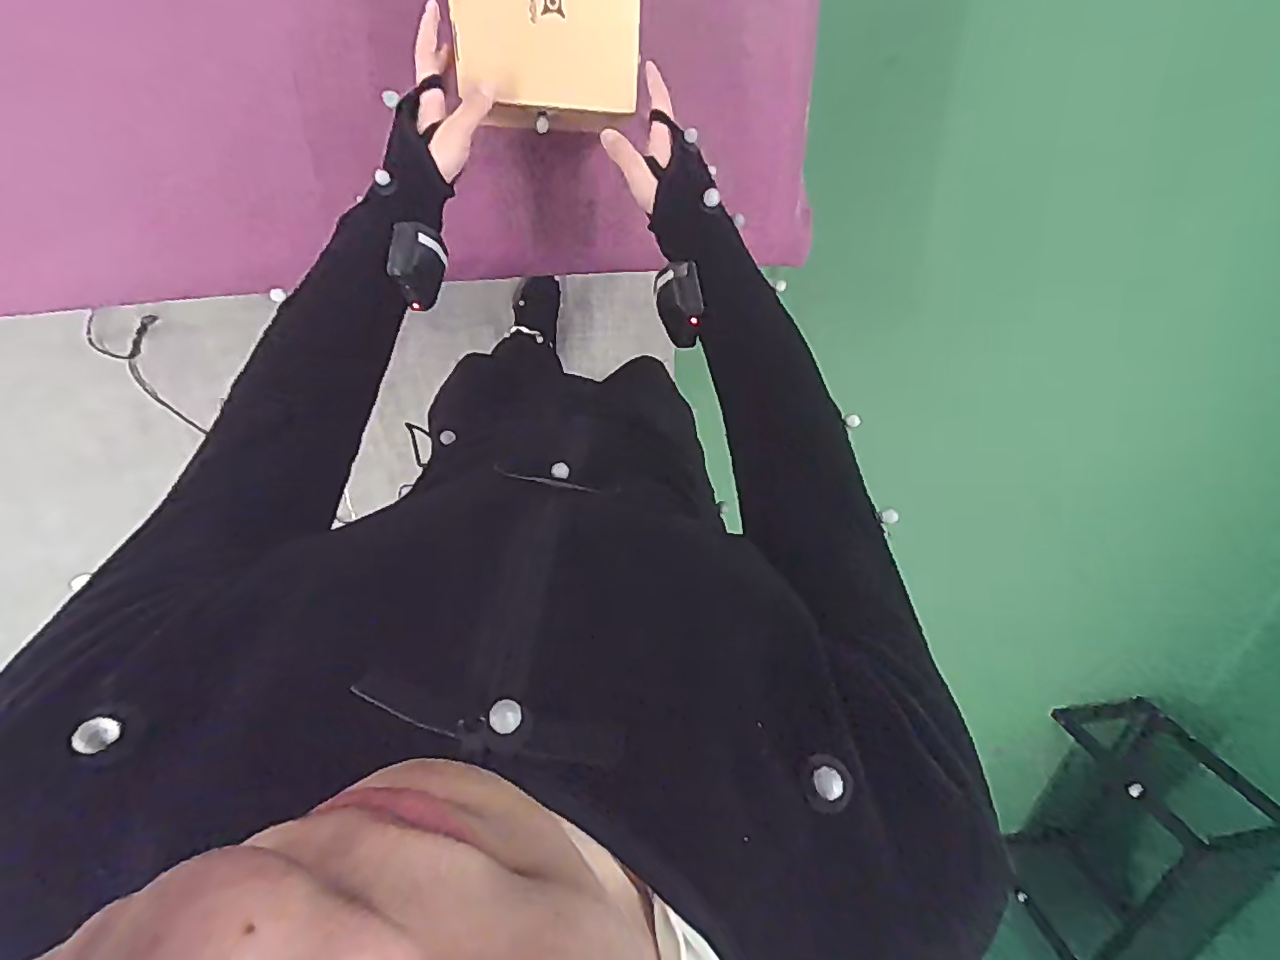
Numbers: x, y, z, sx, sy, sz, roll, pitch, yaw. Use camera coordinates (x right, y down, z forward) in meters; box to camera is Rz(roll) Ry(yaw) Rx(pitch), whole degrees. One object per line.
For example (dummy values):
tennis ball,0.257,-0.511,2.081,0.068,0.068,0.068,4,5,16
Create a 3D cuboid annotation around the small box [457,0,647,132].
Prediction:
small box,-0.094,-0.475,0.568,0.179,0.176,0.168,-2,117,-10
